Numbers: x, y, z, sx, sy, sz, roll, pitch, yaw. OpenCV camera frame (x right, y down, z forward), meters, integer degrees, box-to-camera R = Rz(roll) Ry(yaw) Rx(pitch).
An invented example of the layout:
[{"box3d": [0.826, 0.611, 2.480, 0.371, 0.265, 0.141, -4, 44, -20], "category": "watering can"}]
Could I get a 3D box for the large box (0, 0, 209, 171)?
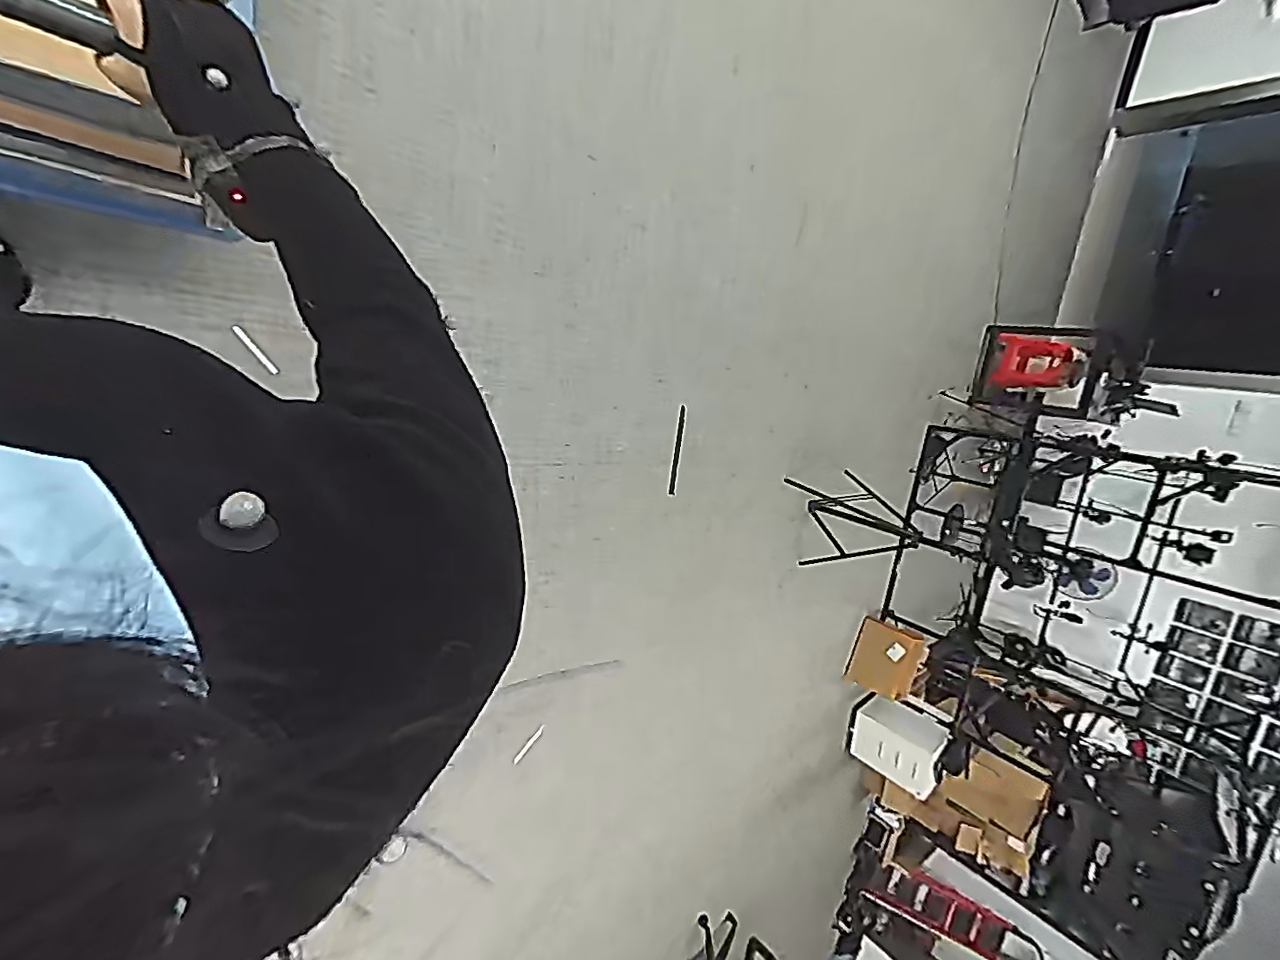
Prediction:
[{"box3d": [-0.803, -0.637, 0.663, 0.408, 0.320, 0.320, -1, 104, -44], "category": "large box"}]
